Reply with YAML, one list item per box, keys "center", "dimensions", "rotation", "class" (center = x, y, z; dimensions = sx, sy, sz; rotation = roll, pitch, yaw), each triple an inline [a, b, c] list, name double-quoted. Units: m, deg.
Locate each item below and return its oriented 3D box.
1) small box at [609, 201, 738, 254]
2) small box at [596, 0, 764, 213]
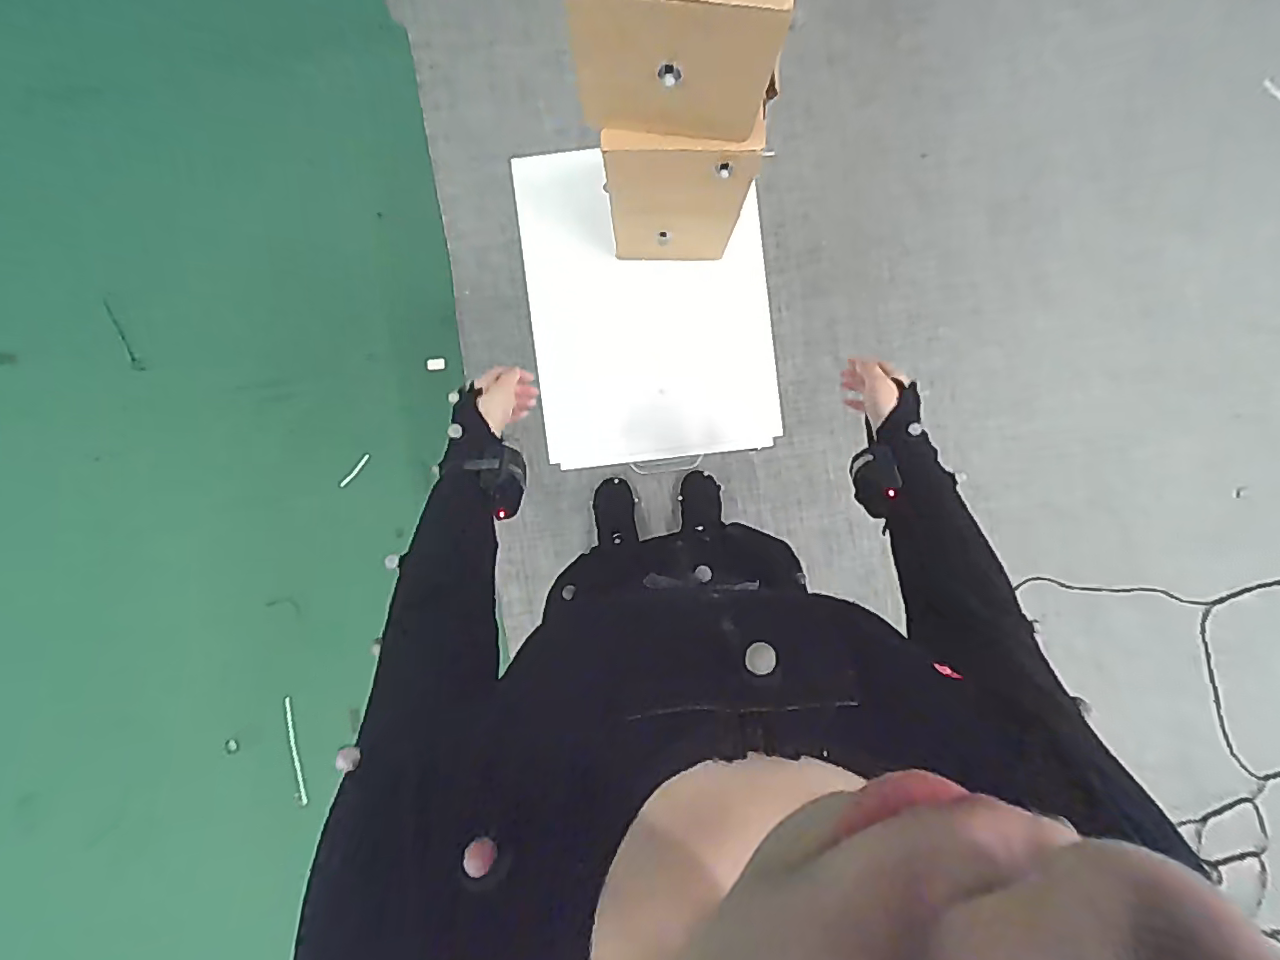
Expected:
- center: [0.048, -0.446, 0.803]
  dimensions: [0.179, 0.176, 0.168]
  rotation: [0, 93, 1]
  class: "small box"
- center: [0.043, -0.435, 0.641]
  dimensions: [0.179, 0.176, 0.168]
  rotation: [-1, 93, 0]
  class: "small box"
